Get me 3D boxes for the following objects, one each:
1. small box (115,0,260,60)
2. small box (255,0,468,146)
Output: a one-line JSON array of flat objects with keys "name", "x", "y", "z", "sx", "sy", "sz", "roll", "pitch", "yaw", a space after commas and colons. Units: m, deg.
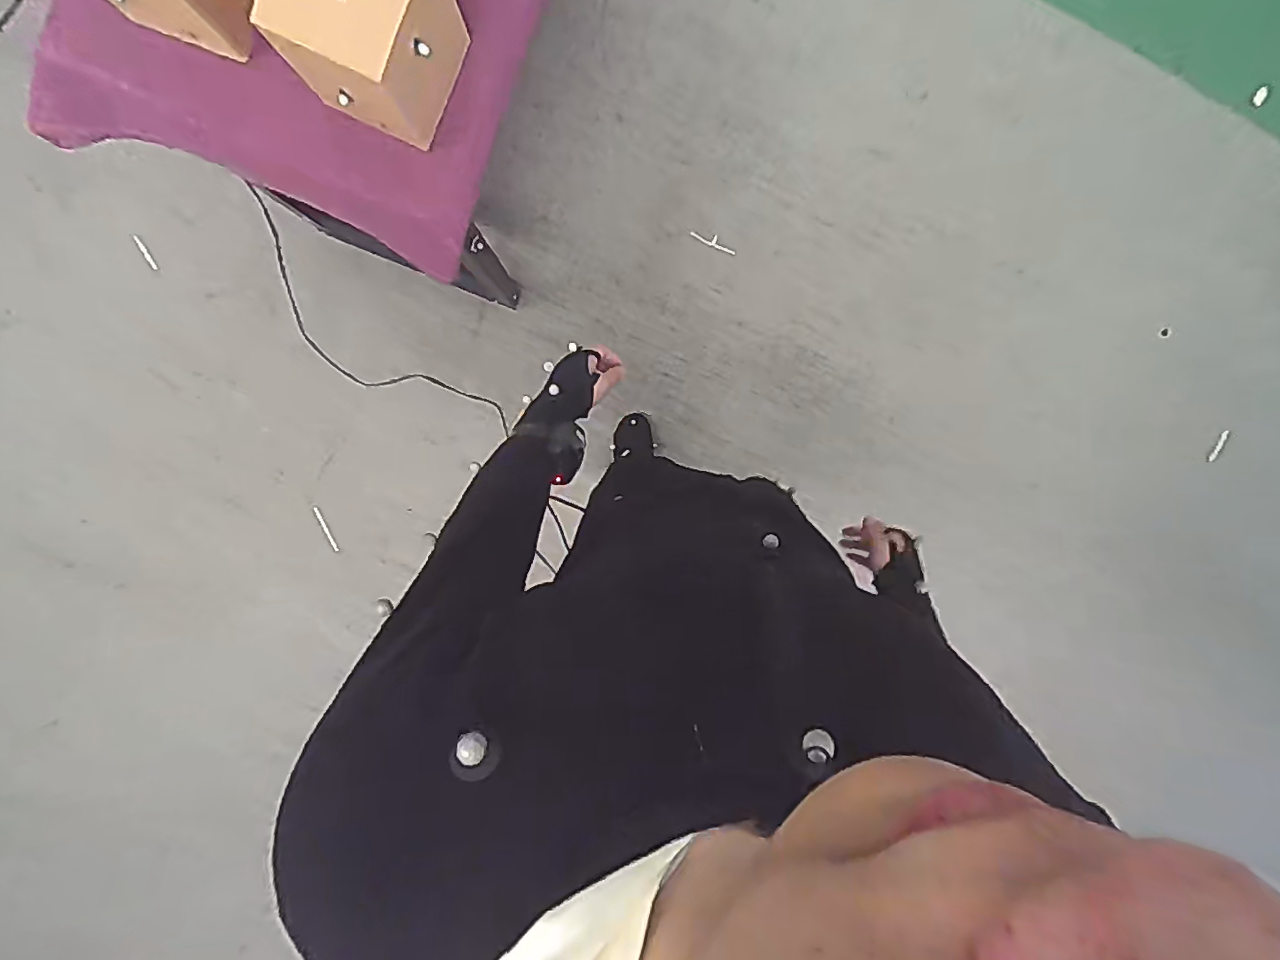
[{"name": "small box", "x": -0.613, "y": -0.699, "z": 0.694, "sx": 0.168, "sy": 0.176, "sz": 0.179, "roll": 18, "pitch": 94, "yaw": -5}, {"name": "small box", "x": -0.350, "y": -0.592, "z": 0.716, "sx": 0.168, "sy": 0.176, "sz": 0.179, "roll": 24, "pitch": 94, "yaw": -4}]
